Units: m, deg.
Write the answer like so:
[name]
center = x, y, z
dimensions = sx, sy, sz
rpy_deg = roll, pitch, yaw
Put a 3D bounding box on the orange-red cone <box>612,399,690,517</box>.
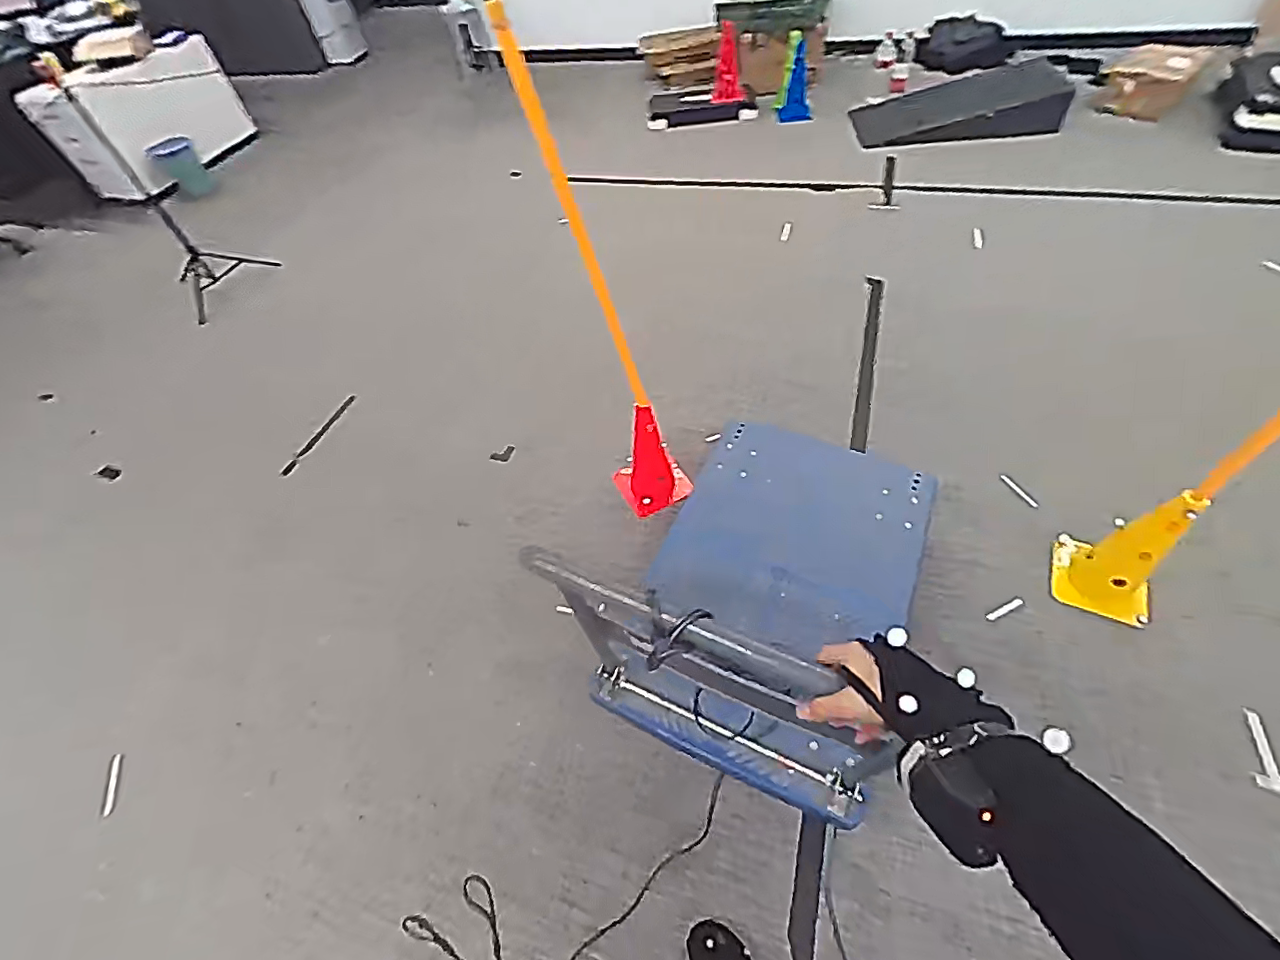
[orange-red cone]
center = 0.020, -0.092, 1.547
dimensions = 0.199, 0.360, 0.198
rpy_deg = -25, 55, -13
